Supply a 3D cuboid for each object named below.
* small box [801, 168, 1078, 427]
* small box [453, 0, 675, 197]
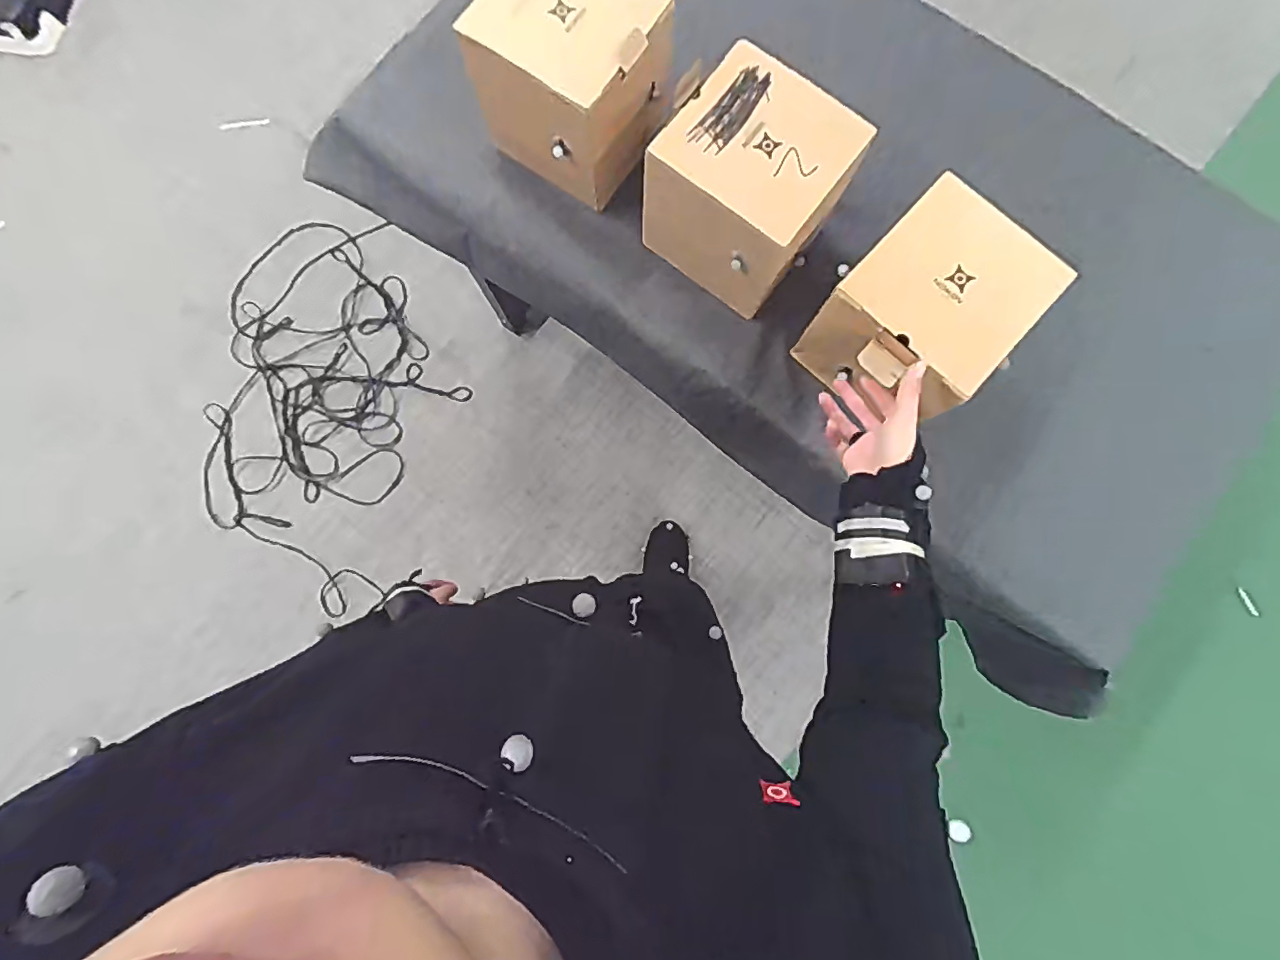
[{"bbox_3d":[0.310,-0.186,0.602,0.168,0.176,0.179,42,85,4],"label":"small box"},{"bbox_3d":[-0.078,-0.476,0.639,0.179,0.176,0.168,33,82,4],"label":"small box"}]
